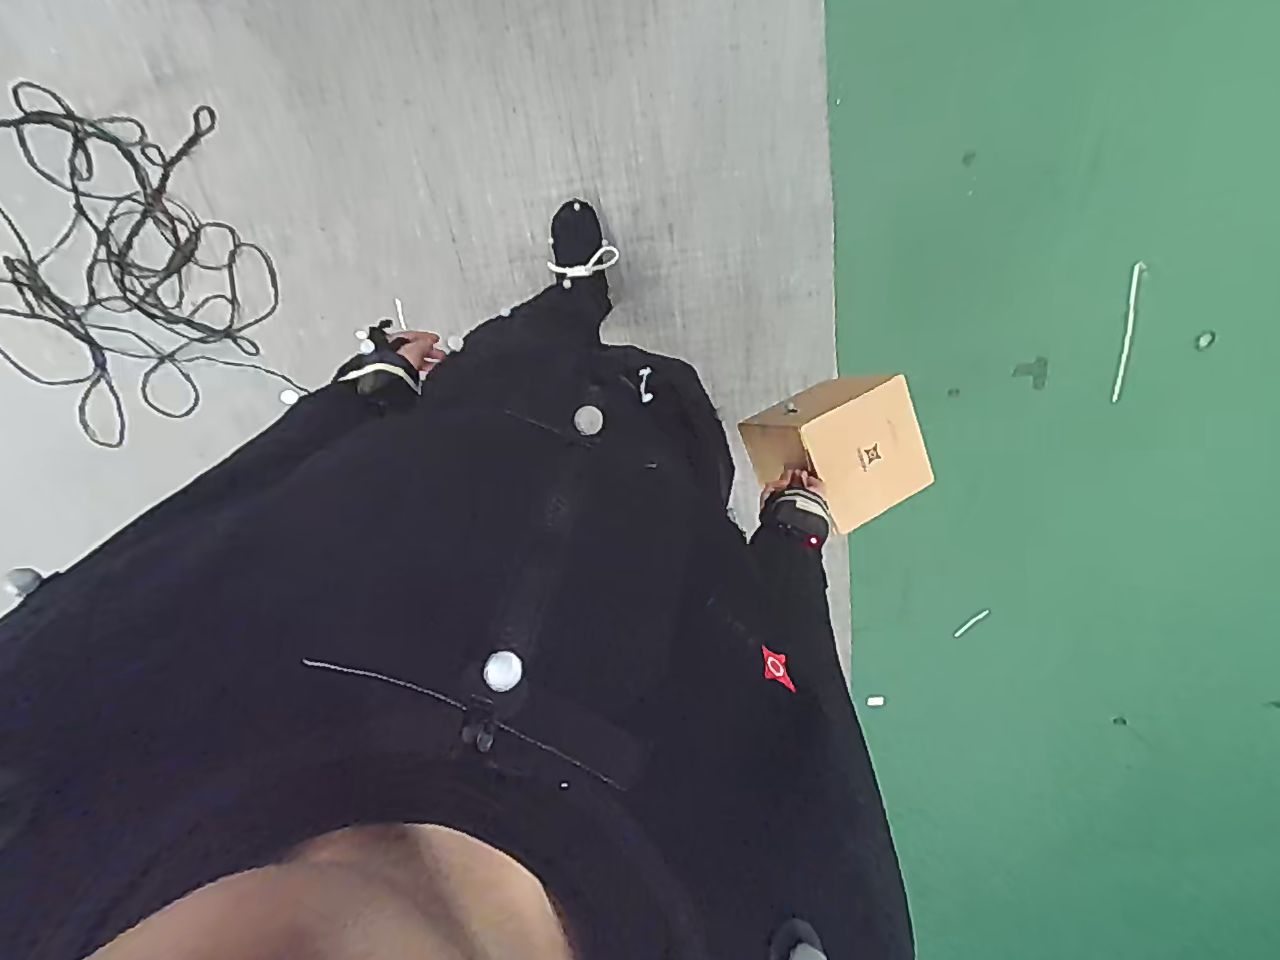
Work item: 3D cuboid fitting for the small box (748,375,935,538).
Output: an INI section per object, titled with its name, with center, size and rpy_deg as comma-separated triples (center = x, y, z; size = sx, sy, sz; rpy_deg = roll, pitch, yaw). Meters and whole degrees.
[small box]
center = 0.281, -0.038, 0.791
size = 0.179, 0.176, 0.168
rpy_deg = -28, 105, -14
